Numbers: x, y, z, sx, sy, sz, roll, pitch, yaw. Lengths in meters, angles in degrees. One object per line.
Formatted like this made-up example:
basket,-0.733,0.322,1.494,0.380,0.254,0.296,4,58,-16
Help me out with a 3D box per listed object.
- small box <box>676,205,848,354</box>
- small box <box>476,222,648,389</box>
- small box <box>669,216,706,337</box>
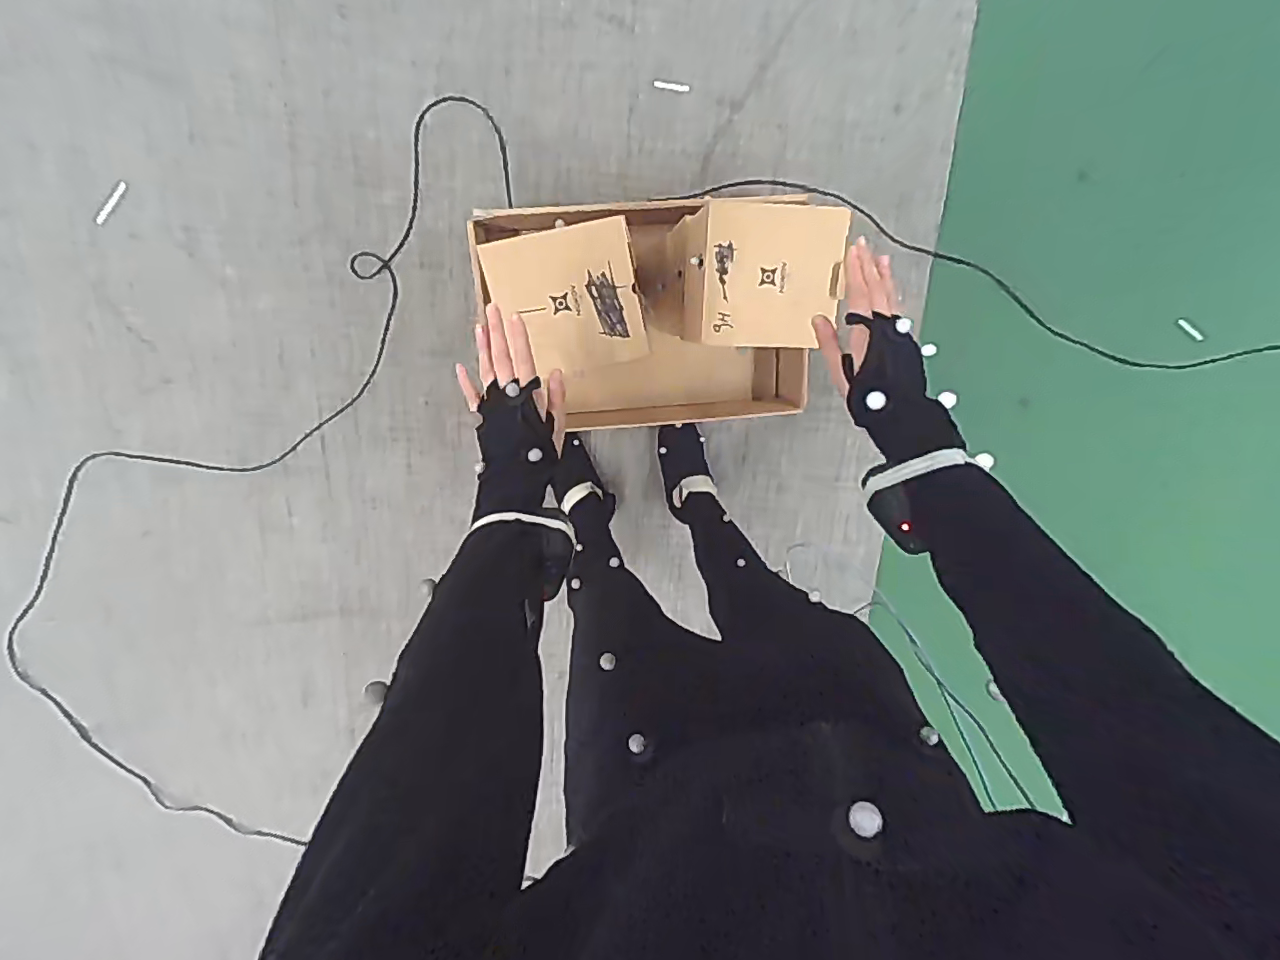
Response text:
small box,0.152,-0.263,0.733,0.179,0.176,0.168,0,106,-6
small box,-0.099,-0.231,0.721,0.179,0.176,0.168,-14,108,-2
small box,0.138,-0.324,0.887,0.168,0.176,0.179,-2,107,-4
